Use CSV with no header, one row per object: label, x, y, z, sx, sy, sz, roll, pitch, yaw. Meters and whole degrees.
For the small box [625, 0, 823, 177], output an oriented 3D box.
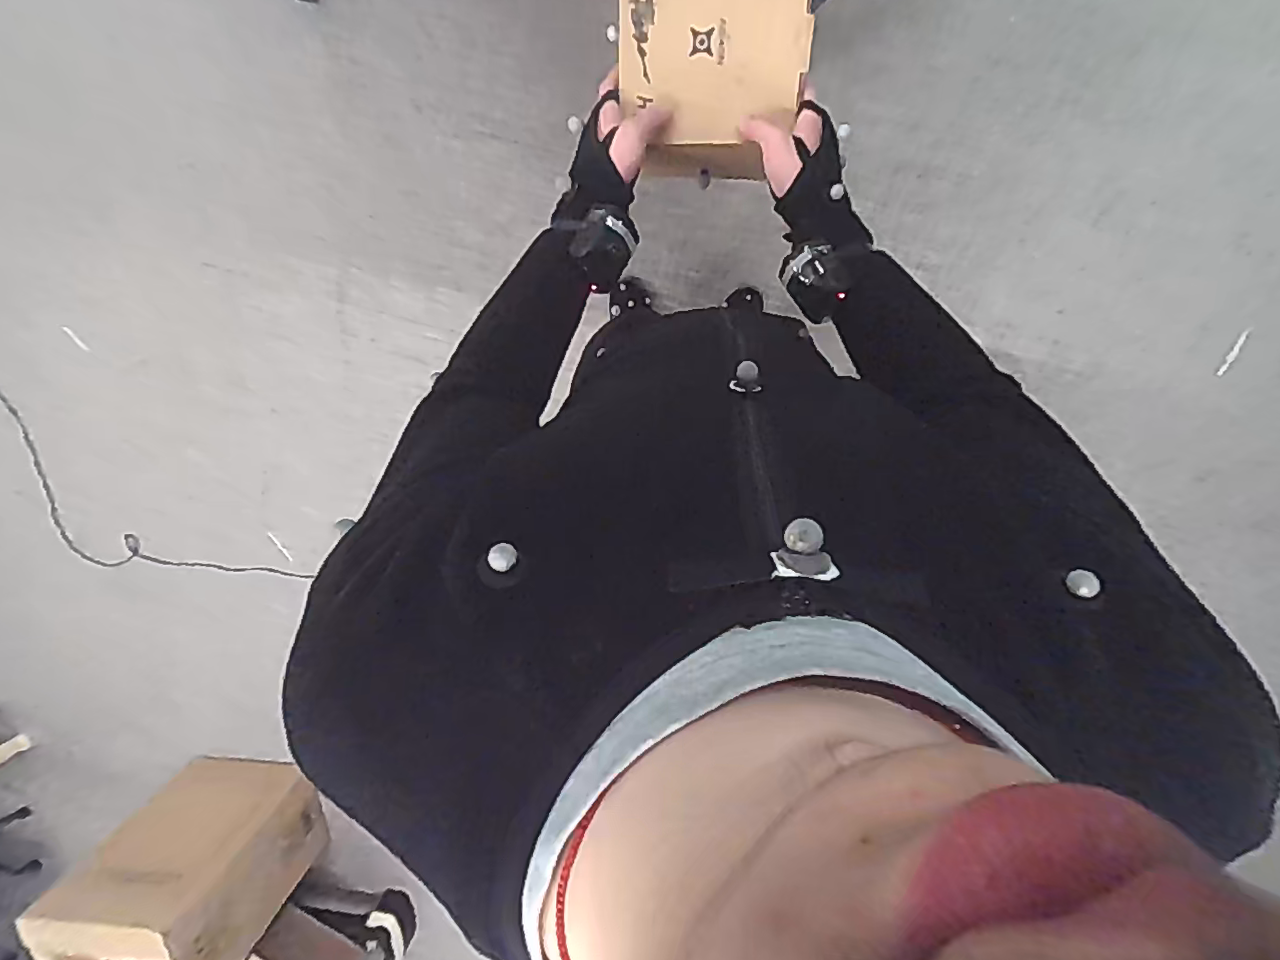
small box,0.079,-0.428,0.568,0.179,0.176,0.168,3,110,3
